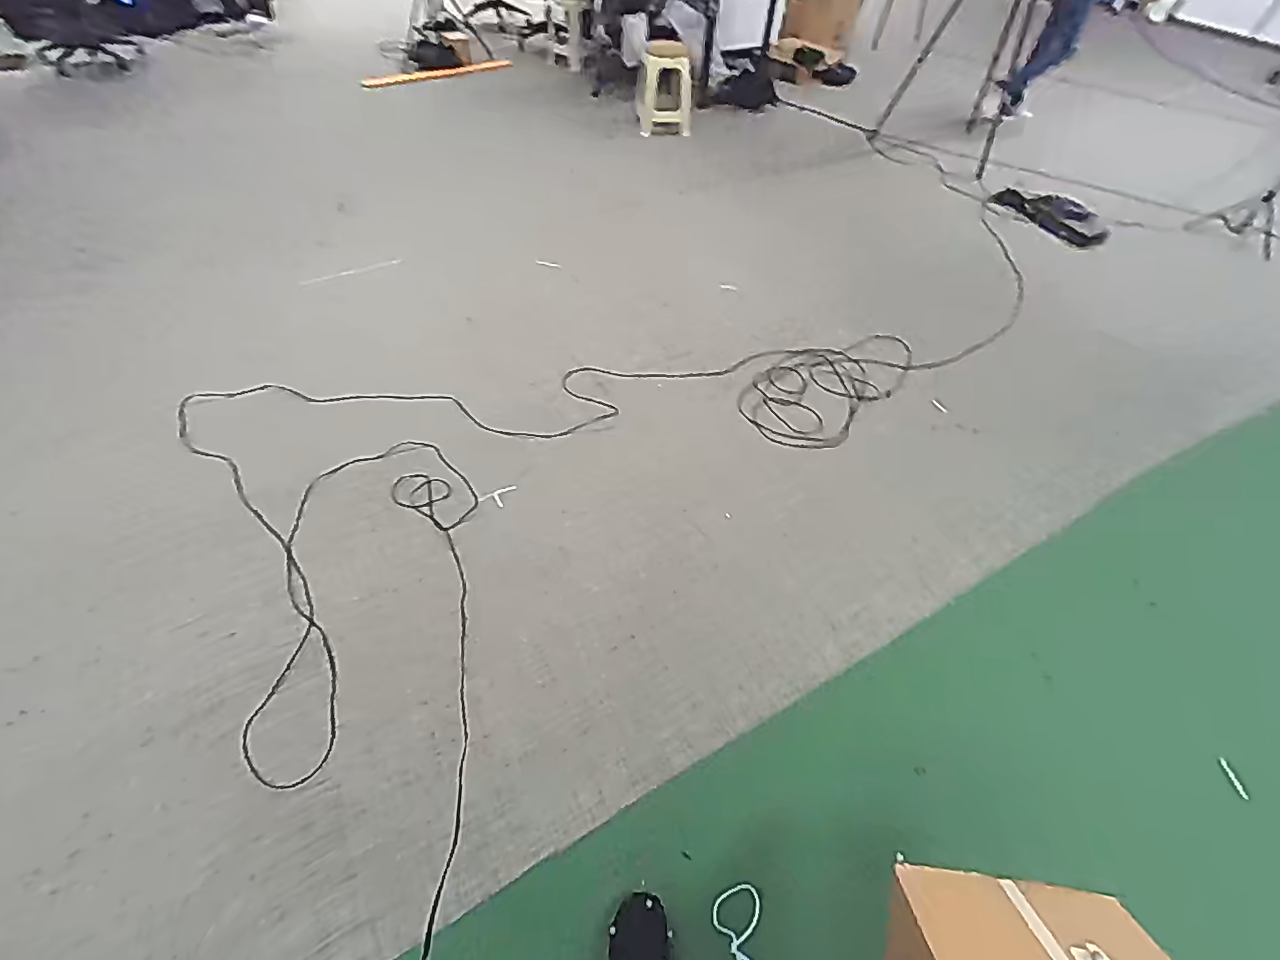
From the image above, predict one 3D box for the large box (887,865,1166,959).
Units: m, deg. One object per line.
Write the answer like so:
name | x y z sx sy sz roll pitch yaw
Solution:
large box | 0.510 0.760 0.630 0.320 0.408 0.320 4 92 7
